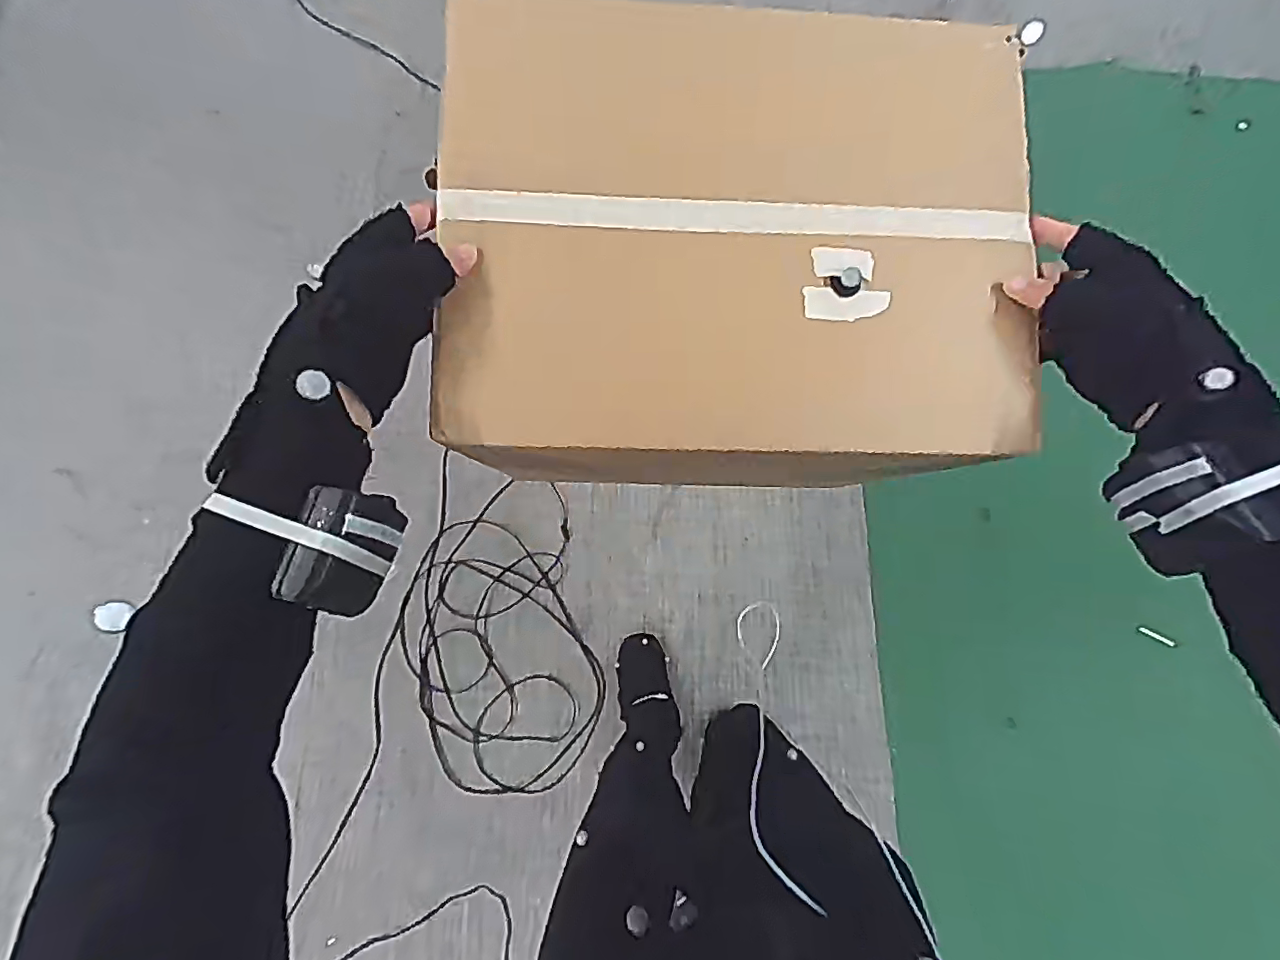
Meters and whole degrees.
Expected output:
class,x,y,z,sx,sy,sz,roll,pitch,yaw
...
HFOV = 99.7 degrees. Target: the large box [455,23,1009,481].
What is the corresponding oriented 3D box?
class,x,y,z,sx,sy,sz,roll,pitch,yaw
large box,0.059,-0.165,0.538,0.408,0.320,0.320,1,86,-4
